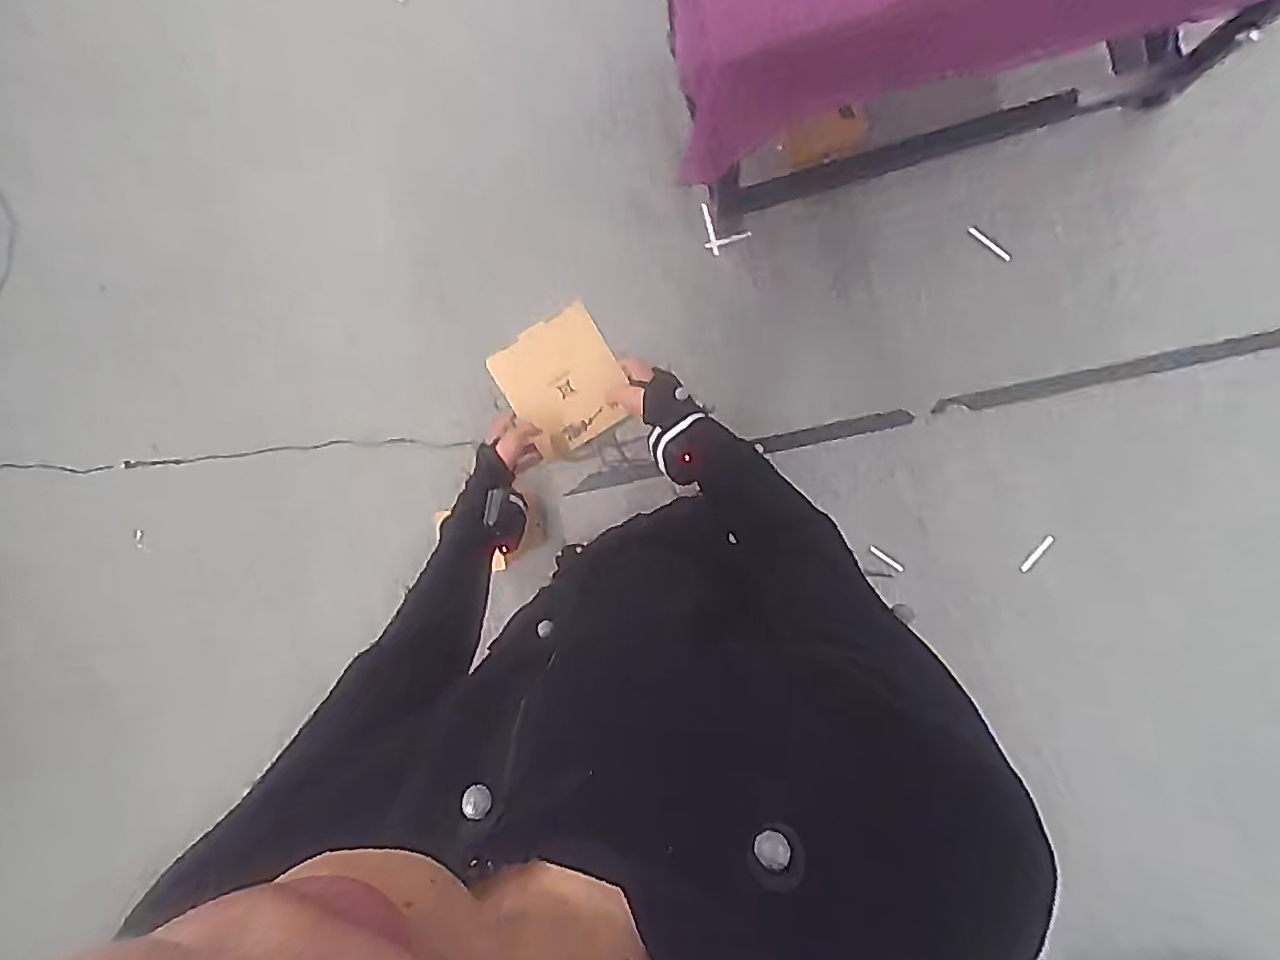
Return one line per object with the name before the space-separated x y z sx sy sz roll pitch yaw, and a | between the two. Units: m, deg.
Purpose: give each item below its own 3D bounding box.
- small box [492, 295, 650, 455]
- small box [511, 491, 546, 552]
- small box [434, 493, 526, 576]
small box | -0.097 -0.155 0.845 0.168 0.176 0.179 -30 94 6
small box | -0.398 0.131 1.599 0.179 0.176 0.168 -12 92 7
small box | -0.418 0.140 1.438 0.168 0.176 0.179 -10 92 8
